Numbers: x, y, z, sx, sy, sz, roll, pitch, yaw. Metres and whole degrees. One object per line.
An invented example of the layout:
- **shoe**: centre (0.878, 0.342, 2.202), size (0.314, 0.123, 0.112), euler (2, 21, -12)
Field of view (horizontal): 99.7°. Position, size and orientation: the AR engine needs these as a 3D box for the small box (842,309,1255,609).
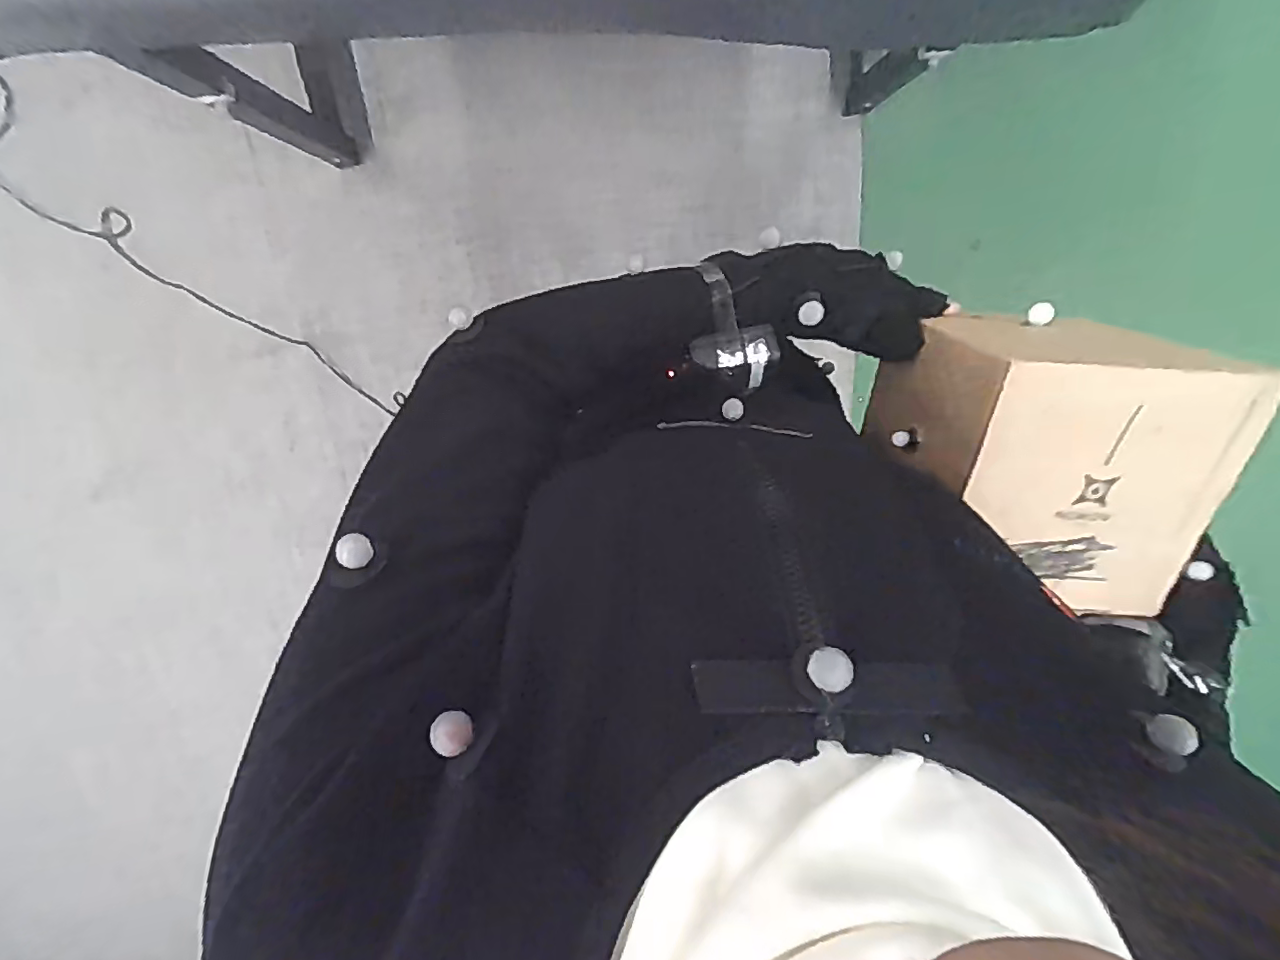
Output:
- **small box**: centre (0.278, -0.025, 0.426), size (0.168, 0.176, 0.179), euler (5, 116, -2)
